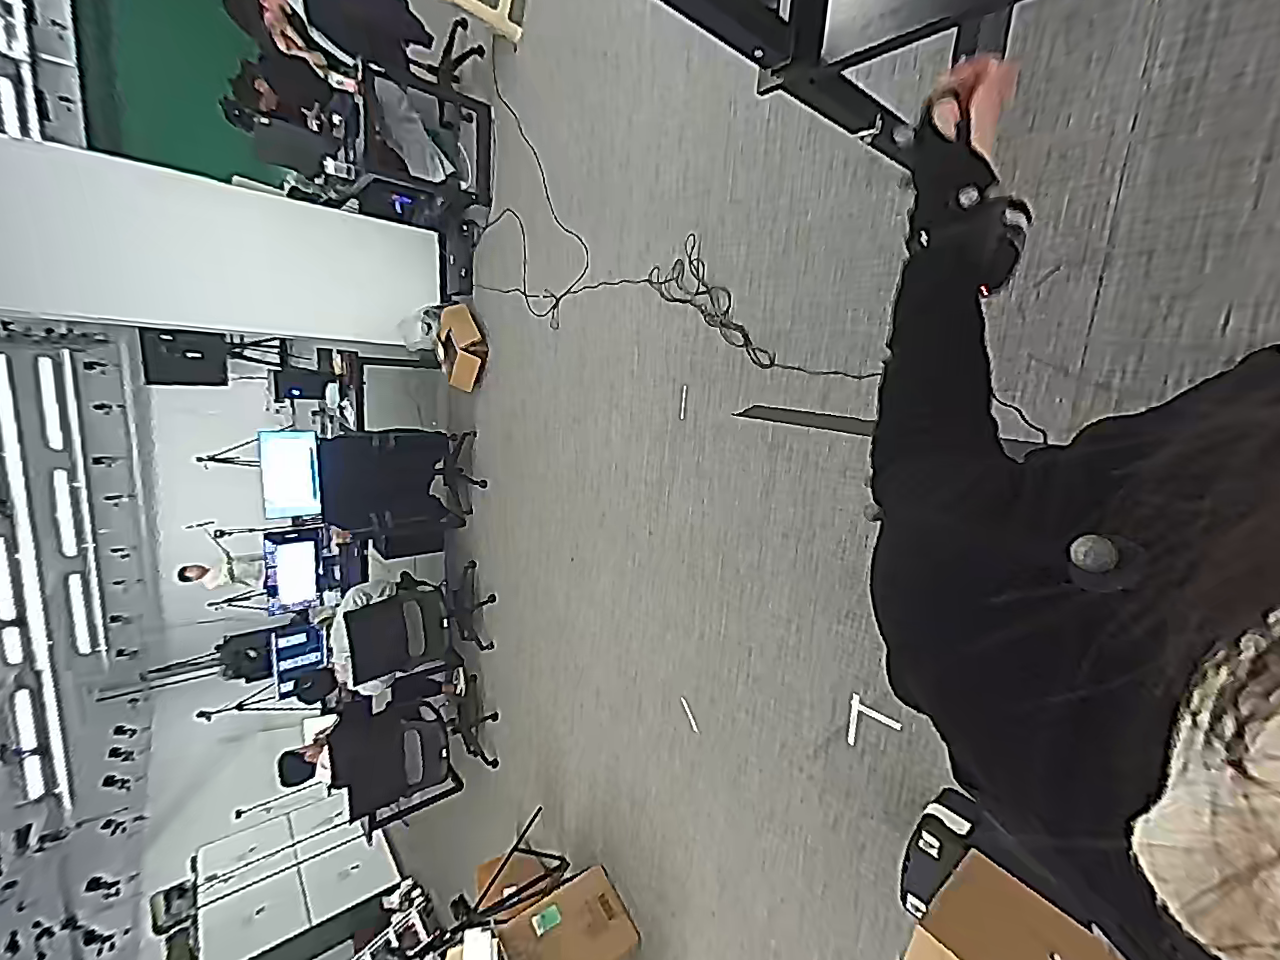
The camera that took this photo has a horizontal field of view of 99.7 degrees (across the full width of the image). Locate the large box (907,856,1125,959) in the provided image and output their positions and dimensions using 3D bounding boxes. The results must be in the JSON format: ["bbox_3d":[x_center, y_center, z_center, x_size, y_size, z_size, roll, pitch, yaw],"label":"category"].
[{"bbox_3d":[0.774,1.079,1.067,0.408,0.320,0.320,23,112,46],"label":"large box"}]

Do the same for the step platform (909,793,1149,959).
[{"bbox_3d":[0.975,1.066,1.197,0.684,0.204,0.286,26,113,46],"label":"step platform"}]
